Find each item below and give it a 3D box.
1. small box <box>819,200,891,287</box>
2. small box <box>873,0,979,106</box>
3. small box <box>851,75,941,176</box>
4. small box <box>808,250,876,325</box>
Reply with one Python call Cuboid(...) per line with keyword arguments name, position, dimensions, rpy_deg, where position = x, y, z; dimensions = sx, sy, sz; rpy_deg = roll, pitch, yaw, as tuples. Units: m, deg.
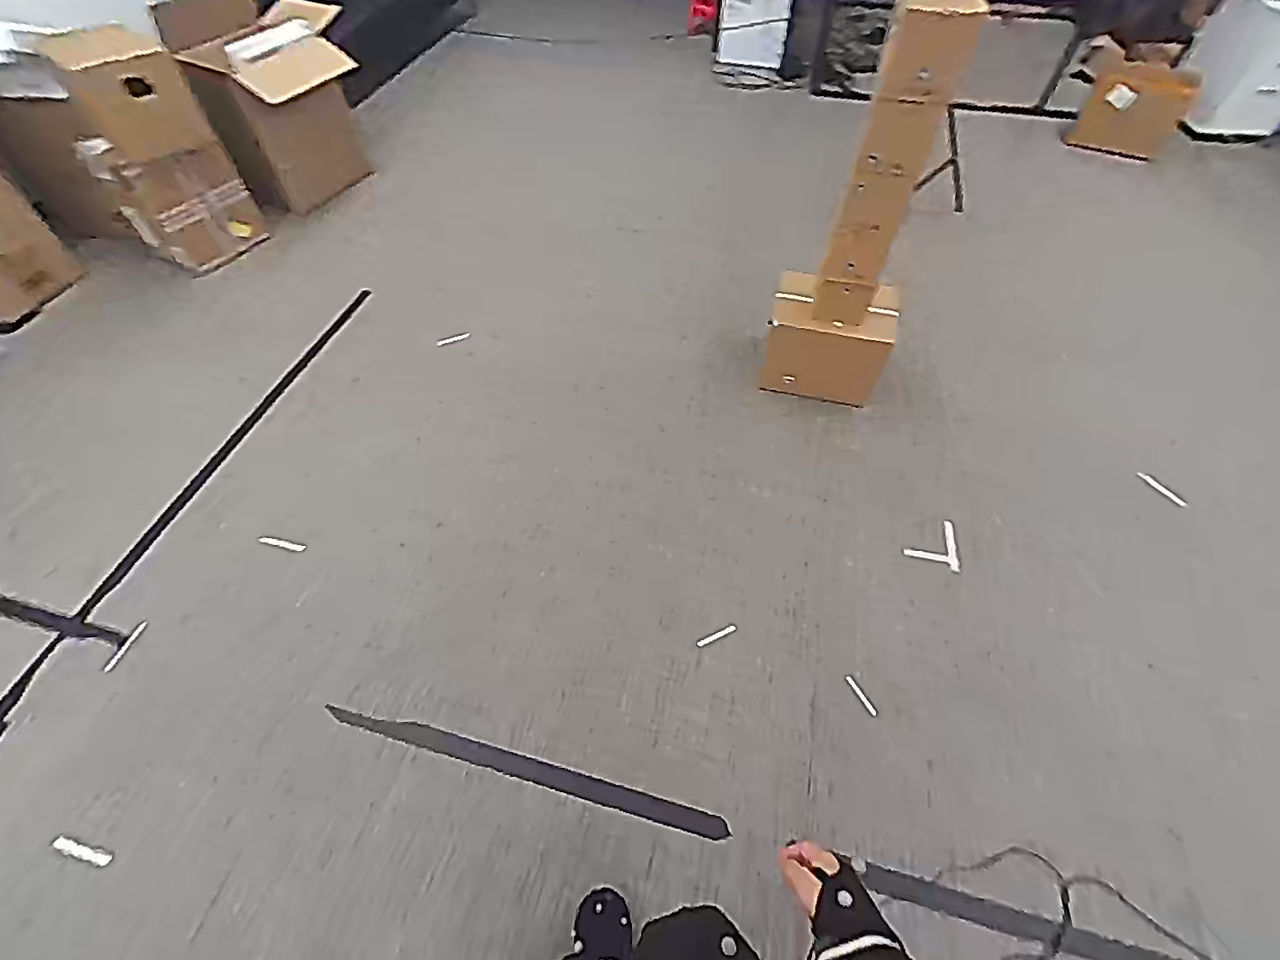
Cuboid(name="small box", position=(0.655, -0.723, 1.656), dimensions=(0.168, 0.176, 0.179), rpy_deg=(11, 57, 8))
Cuboid(name="small box", position=(0.648, -0.999, 1.248), dimensions=(0.168, 0.176, 0.179), rpy_deg=(10, 57, 9))
Cuboid(name="small box", position=(0.651, -0.908, 1.384), dimensions=(0.168, 0.176, 0.179), rpy_deg=(13, 56, 9))
Cuboid(name="small box", position=(0.664, -0.636, 1.793), dimensions=(0.179, 0.176, 0.168), rpy_deg=(11, 57, 7))
